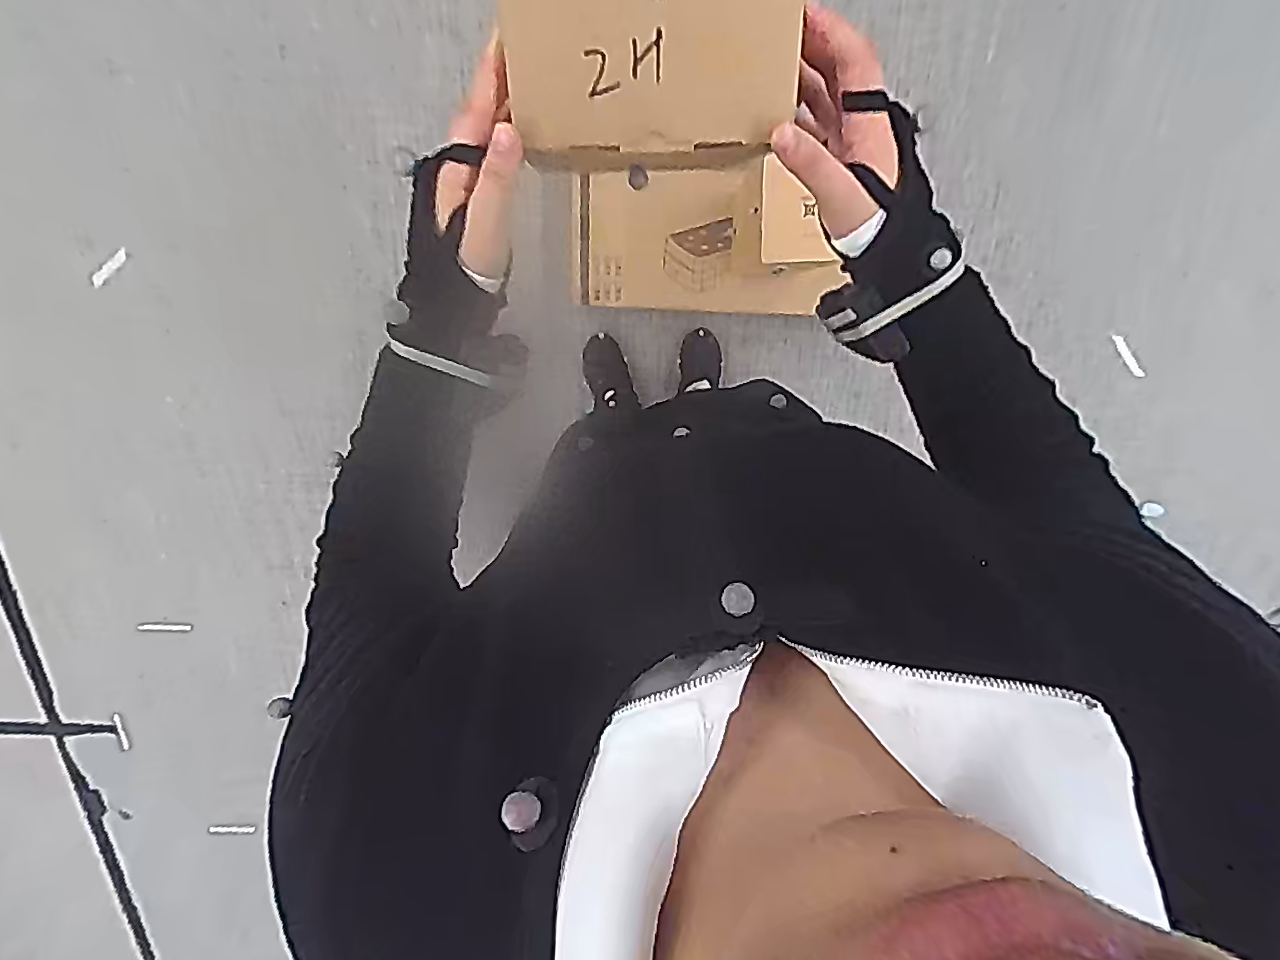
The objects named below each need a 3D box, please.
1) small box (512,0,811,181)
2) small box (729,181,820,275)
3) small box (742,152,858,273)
[{"bbox_3d":[0.005,-0.305,0.356,0.168,0.176,0.179,-3,115,-4],"label":"small box"},{"bbox_3d":[0.291,-0.537,1.165,0.168,0.176,0.179,-1,108,-2],"label":"small box"},{"bbox_3d":[0.288,-0.489,1.009,0.168,0.176,0.179,-3,108,0],"label":"small box"}]
